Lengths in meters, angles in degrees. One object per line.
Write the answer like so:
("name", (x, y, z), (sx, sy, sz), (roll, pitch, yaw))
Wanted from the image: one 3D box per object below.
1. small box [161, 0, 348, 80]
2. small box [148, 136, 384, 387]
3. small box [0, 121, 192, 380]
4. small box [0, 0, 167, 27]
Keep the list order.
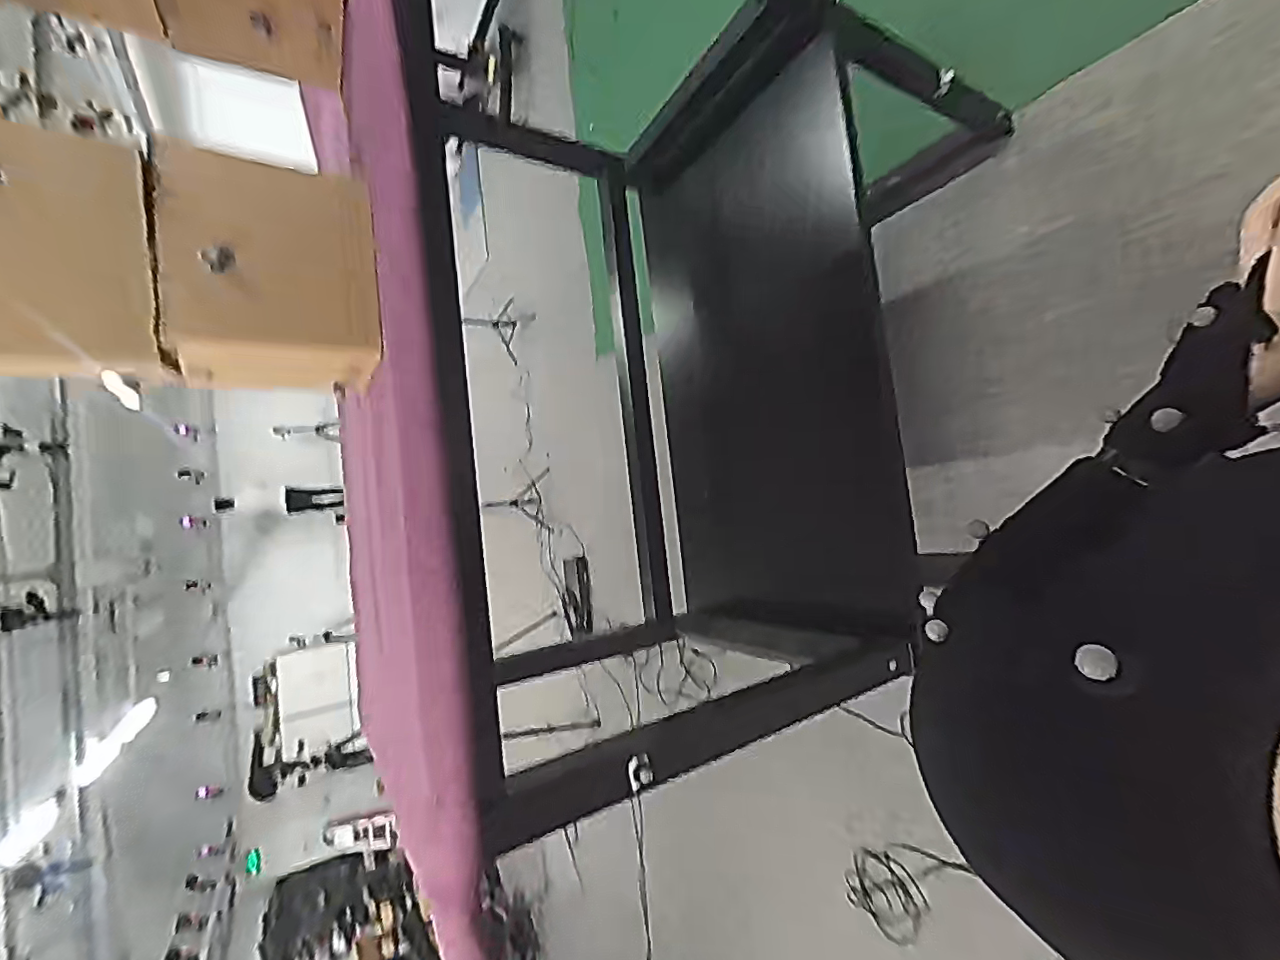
("small box", (-0.417, -0.571, 0.577), (0.168, 0.176, 0.179), (-12, 86, 59))
("small box", (-0.363, -0.196, 0.548), (0.168, 0.176, 0.179), (-10, 85, 56))
("small box", (-0.498, -0.181, 0.458), (0.168, 0.176, 0.179), (8, 101, 57))
("small box", (-0.549, -0.558, 0.482), (0.168, 0.176, 0.179), (-12, 85, 59))
